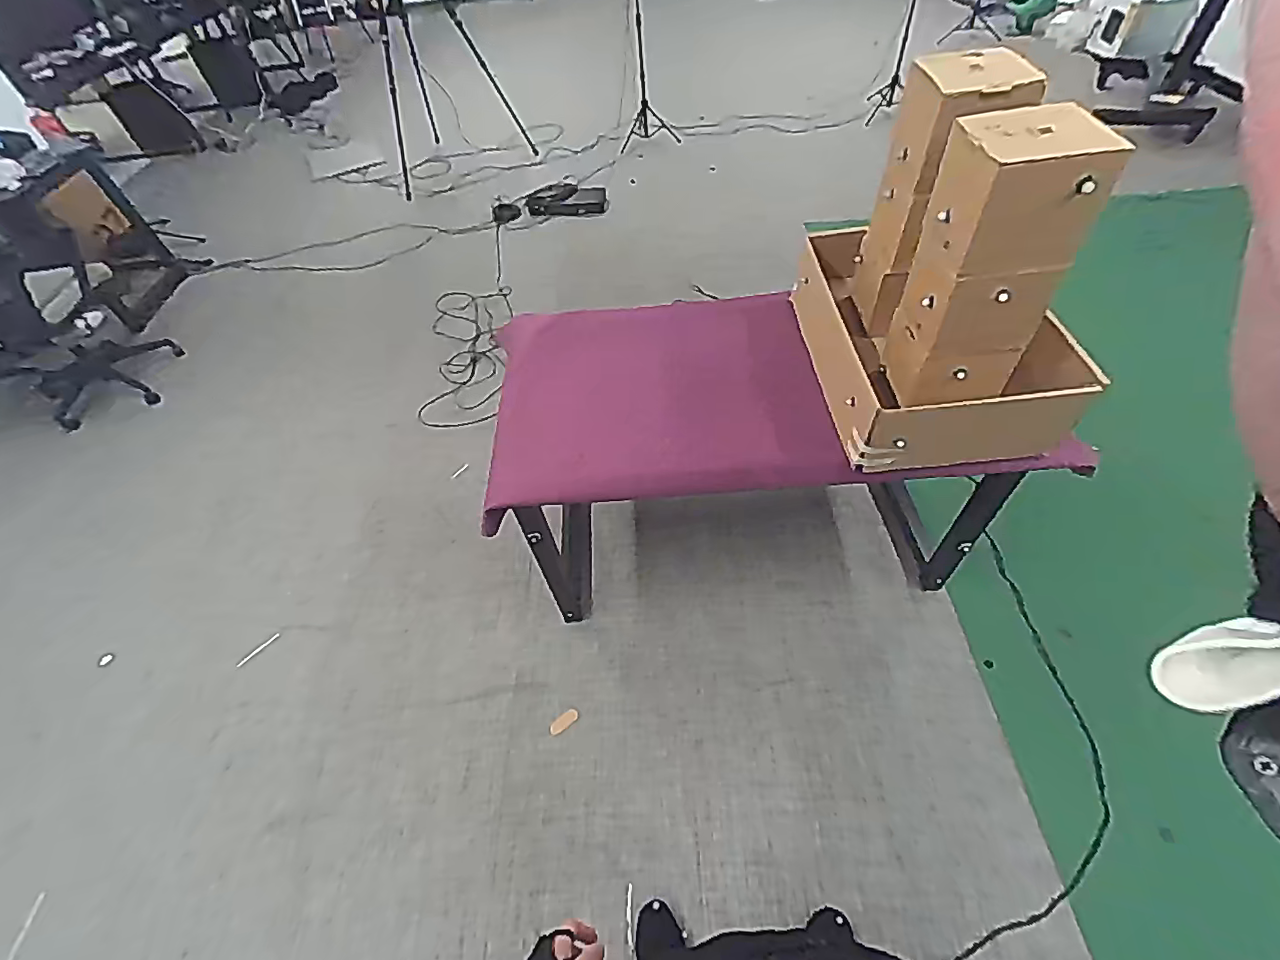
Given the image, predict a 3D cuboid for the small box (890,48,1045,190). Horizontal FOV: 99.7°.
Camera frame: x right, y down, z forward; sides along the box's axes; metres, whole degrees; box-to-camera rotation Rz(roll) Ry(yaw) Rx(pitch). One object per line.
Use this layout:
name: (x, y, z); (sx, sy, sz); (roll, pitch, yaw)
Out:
small box: (0.582, -0.650, 0.989); (0.168, 0.176, 0.179); (-3, 54, 4)

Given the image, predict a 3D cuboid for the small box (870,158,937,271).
small box: (0.597, -0.551, 1.119); (0.168, 0.176, 0.179); (-4, 53, 4)

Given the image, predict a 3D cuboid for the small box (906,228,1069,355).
small box: (0.591, -0.337, 0.957); (0.179, 0.176, 0.168); (-3, 53, 5)

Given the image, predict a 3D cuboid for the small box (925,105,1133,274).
small box: (0.574, -0.440, 0.829); (0.179, 0.176, 0.168); (-4, 52, 5)
